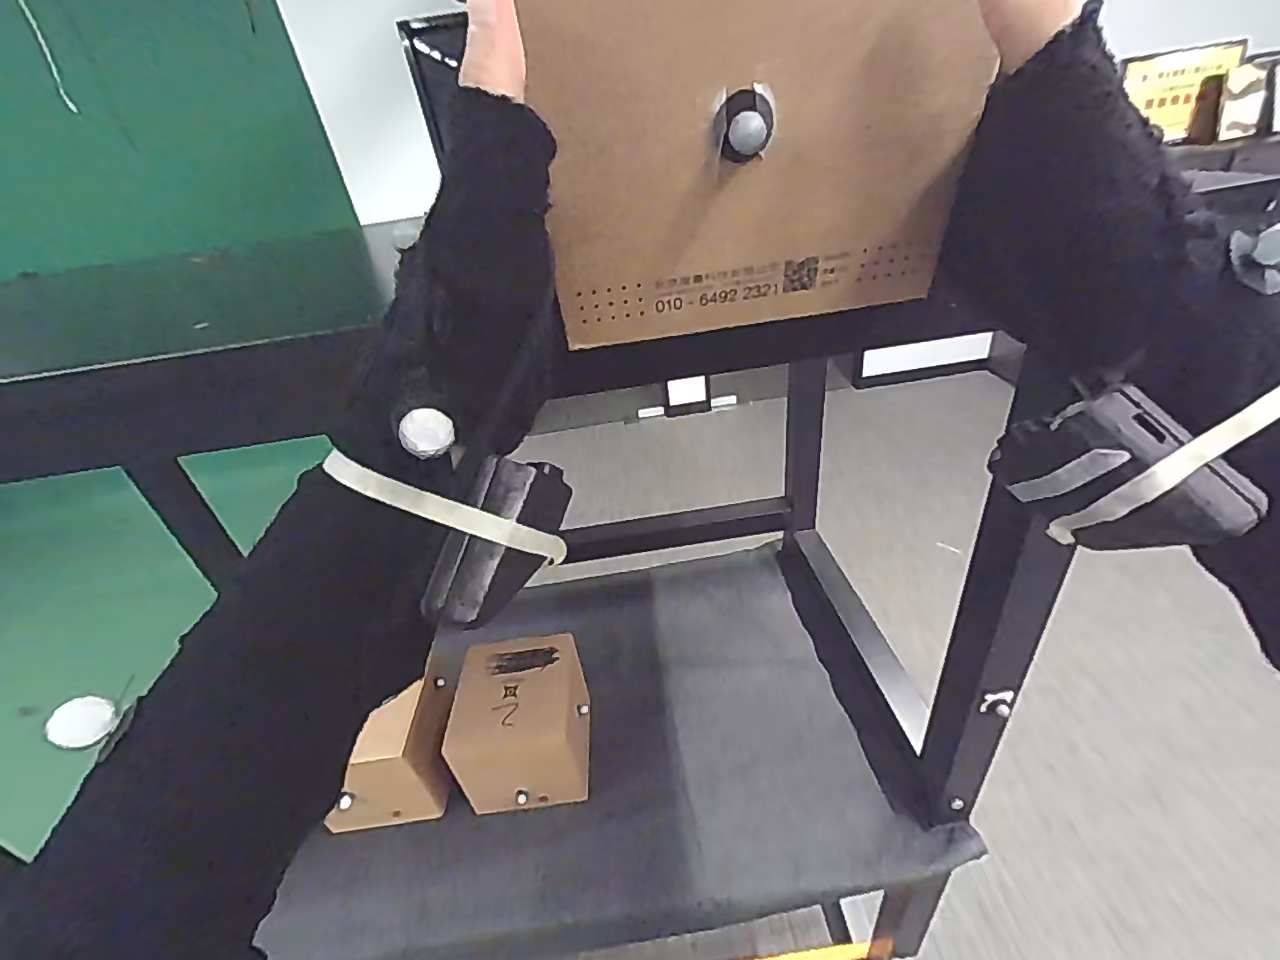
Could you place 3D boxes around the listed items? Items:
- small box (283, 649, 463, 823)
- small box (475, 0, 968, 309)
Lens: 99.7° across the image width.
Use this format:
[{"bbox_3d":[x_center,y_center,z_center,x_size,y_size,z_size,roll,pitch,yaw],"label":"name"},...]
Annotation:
[{"bbox_3d":[-0.383,0.389,0.818,0.168,0.176,0.179,-8,32,0],"label":"small box"},{"bbox_3d":[0.027,-0.191,0.244,0.168,0.176,0.179,-8,46,0],"label":"small box"}]
